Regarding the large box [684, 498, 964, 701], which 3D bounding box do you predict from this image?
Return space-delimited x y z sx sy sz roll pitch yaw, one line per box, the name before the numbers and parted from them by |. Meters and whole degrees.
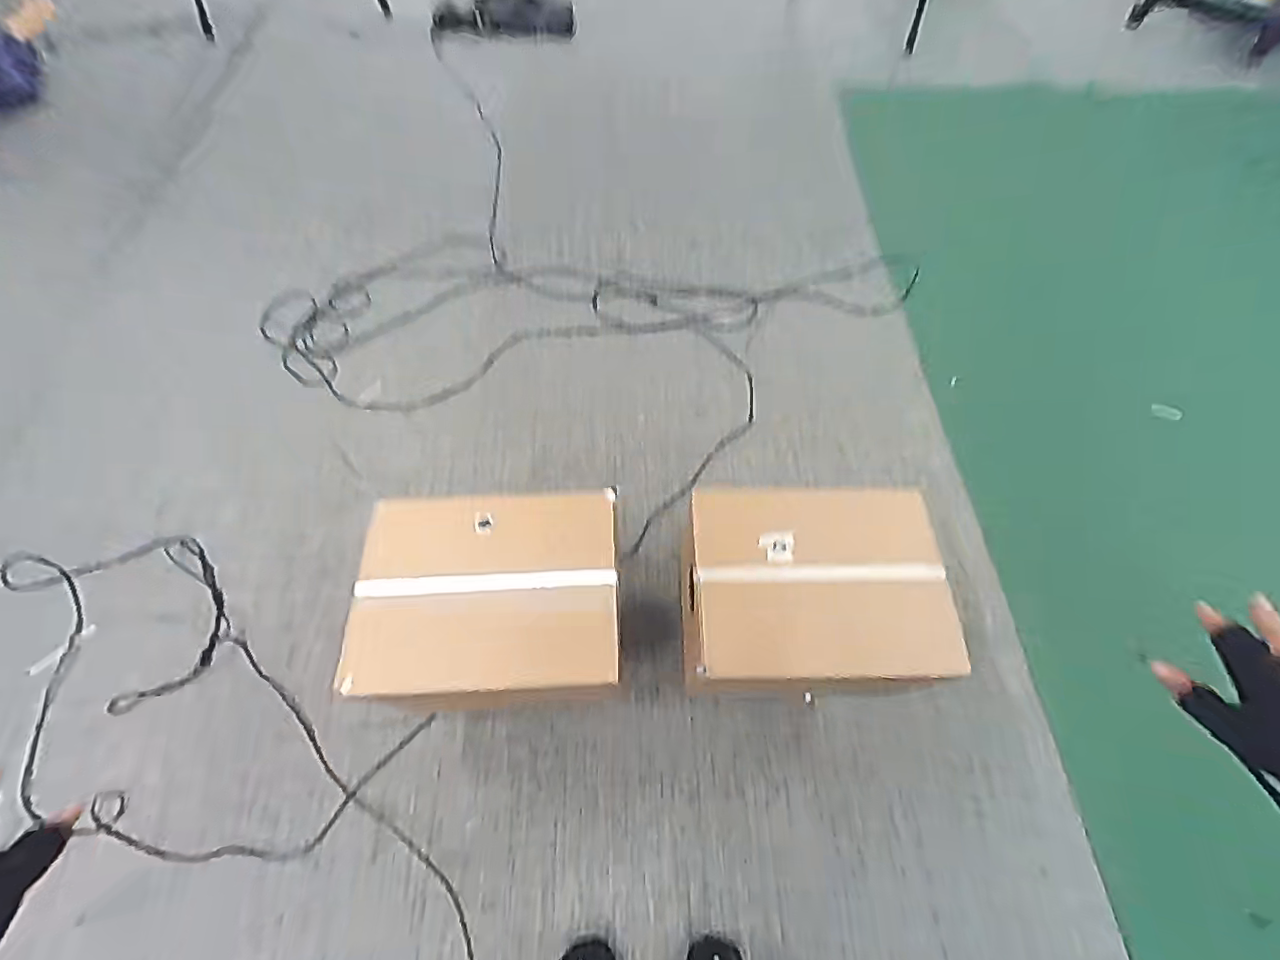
large box | 0.298 0.240 1.022 0.408 0.320 0.320 0 62 0
